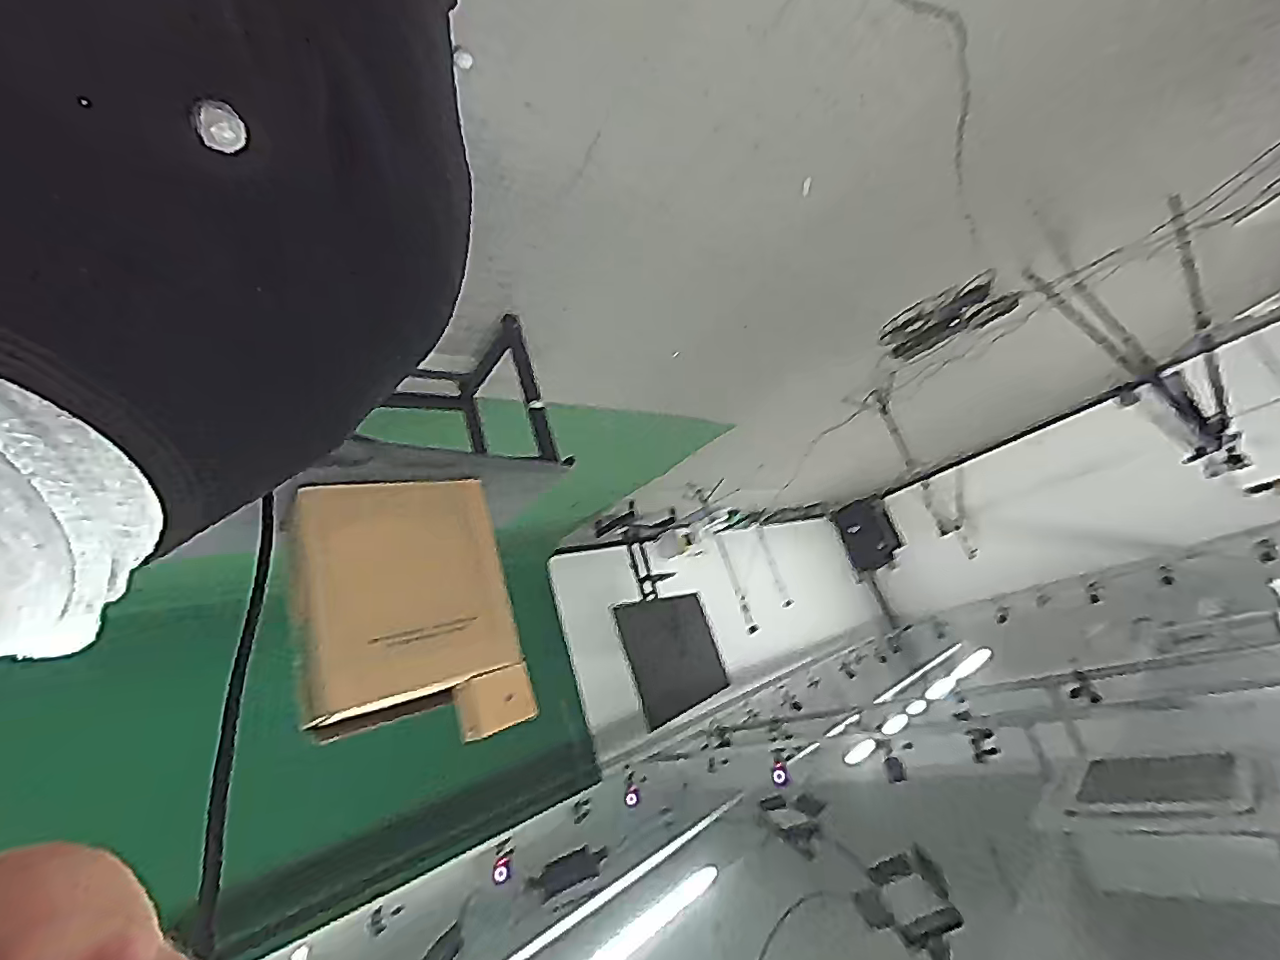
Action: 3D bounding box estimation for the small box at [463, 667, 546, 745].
[{"bbox_3d":[-0.423,0.697,1.678,0.179,0.176,0.168,-7,158,-40],"label":"small box"}]
